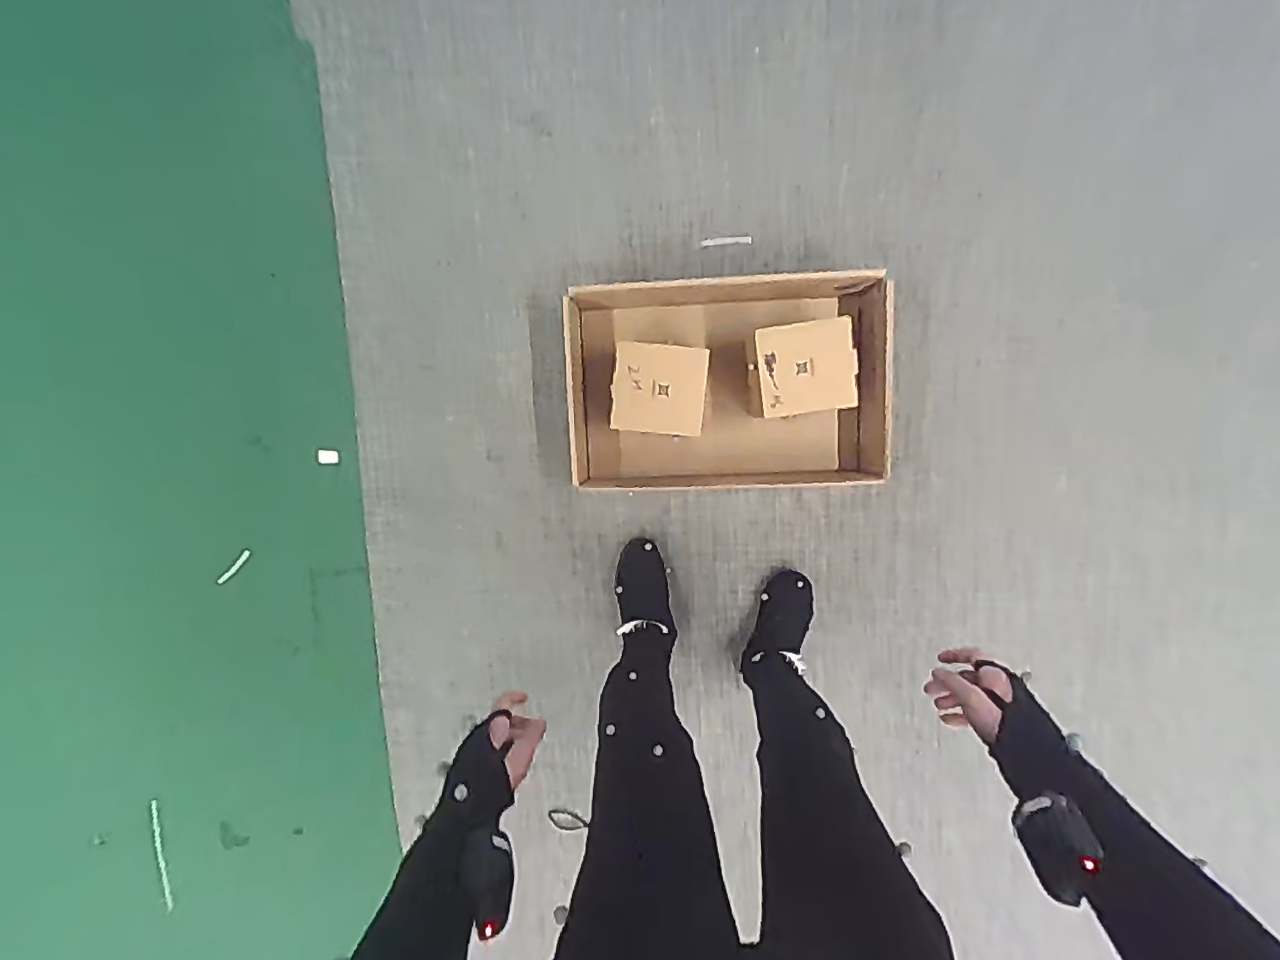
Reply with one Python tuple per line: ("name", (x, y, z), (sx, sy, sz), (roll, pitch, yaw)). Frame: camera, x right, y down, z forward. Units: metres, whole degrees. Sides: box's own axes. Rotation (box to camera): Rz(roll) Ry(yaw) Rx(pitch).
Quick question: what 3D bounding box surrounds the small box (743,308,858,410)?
("small box", (0.305, -0.230, 1.052), (0.179, 0.176, 0.168), (-7, 97, 5))
